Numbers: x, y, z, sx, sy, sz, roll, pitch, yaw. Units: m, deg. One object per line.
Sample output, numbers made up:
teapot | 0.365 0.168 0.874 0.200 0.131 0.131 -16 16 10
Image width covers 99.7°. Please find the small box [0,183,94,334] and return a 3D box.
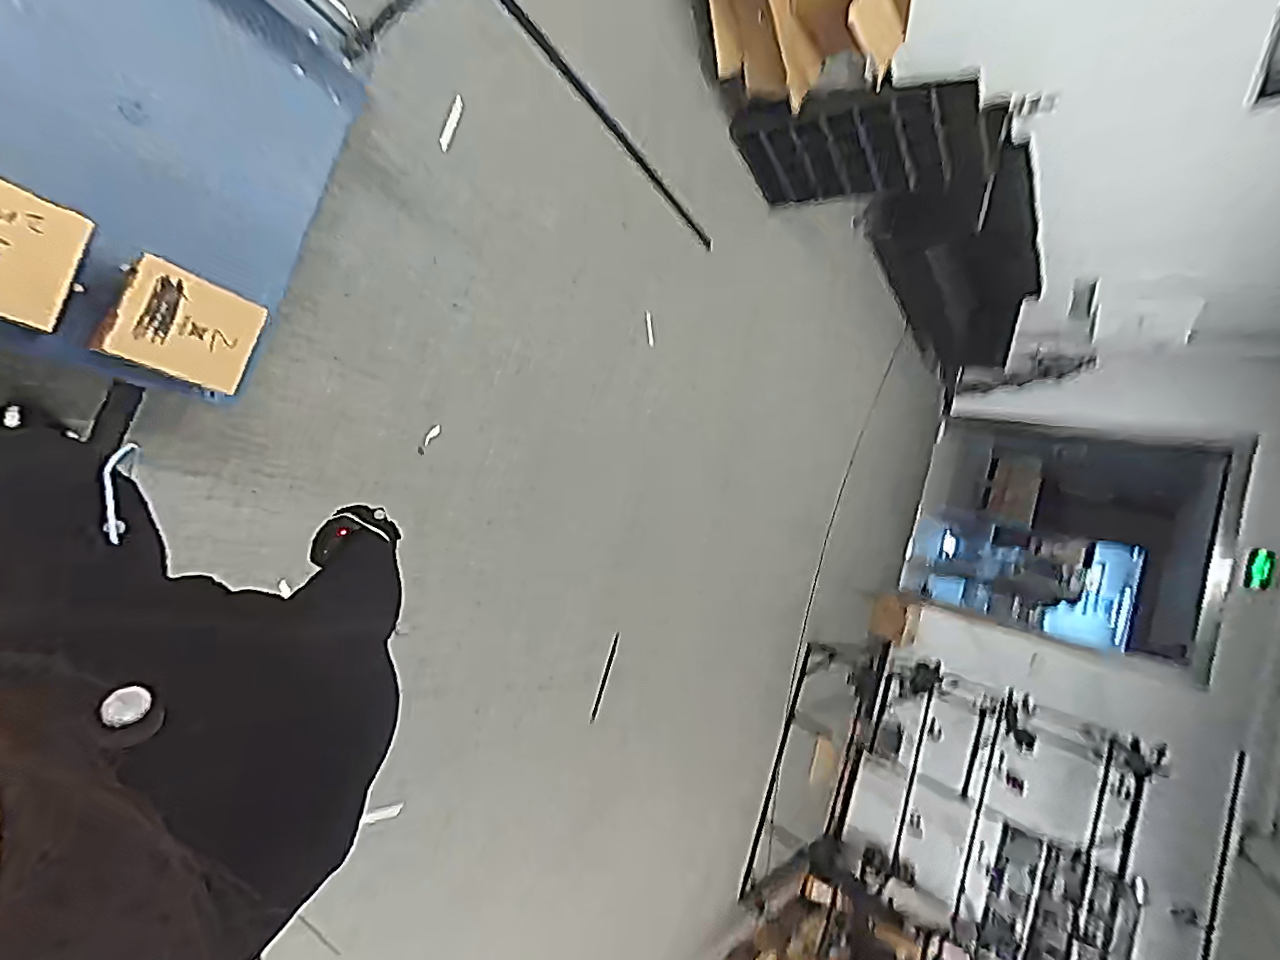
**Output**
small box | -0.928 -0.322 0.772 0.168 0.176 0.179 23 81 -50
